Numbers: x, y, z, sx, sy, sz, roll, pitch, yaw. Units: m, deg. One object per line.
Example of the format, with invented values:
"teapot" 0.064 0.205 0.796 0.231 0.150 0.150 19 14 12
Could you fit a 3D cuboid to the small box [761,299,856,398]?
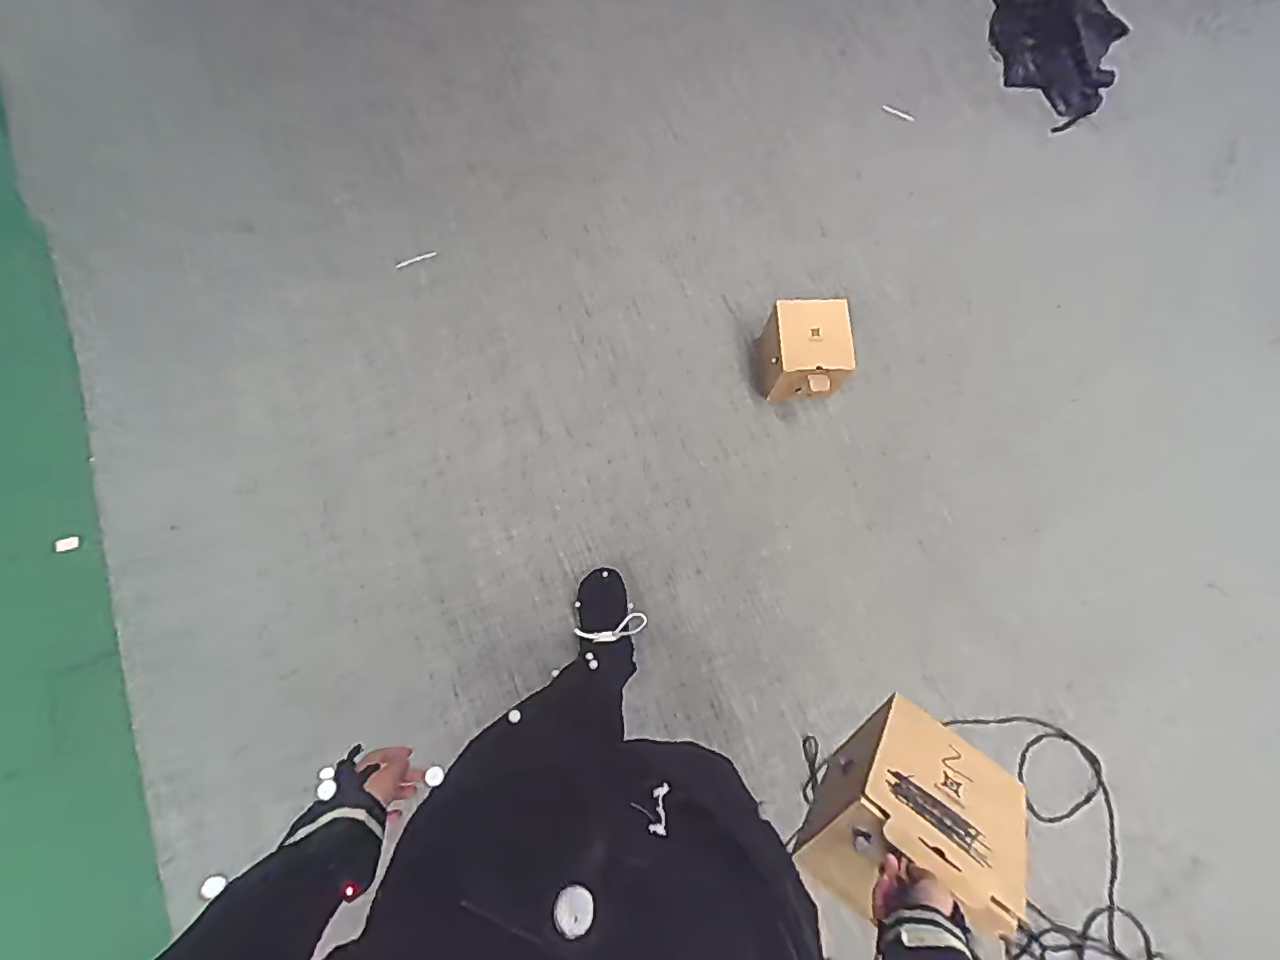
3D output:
"small box" 0.390 -0.307 1.282 0.168 0.176 0.179 -1 77 -2
